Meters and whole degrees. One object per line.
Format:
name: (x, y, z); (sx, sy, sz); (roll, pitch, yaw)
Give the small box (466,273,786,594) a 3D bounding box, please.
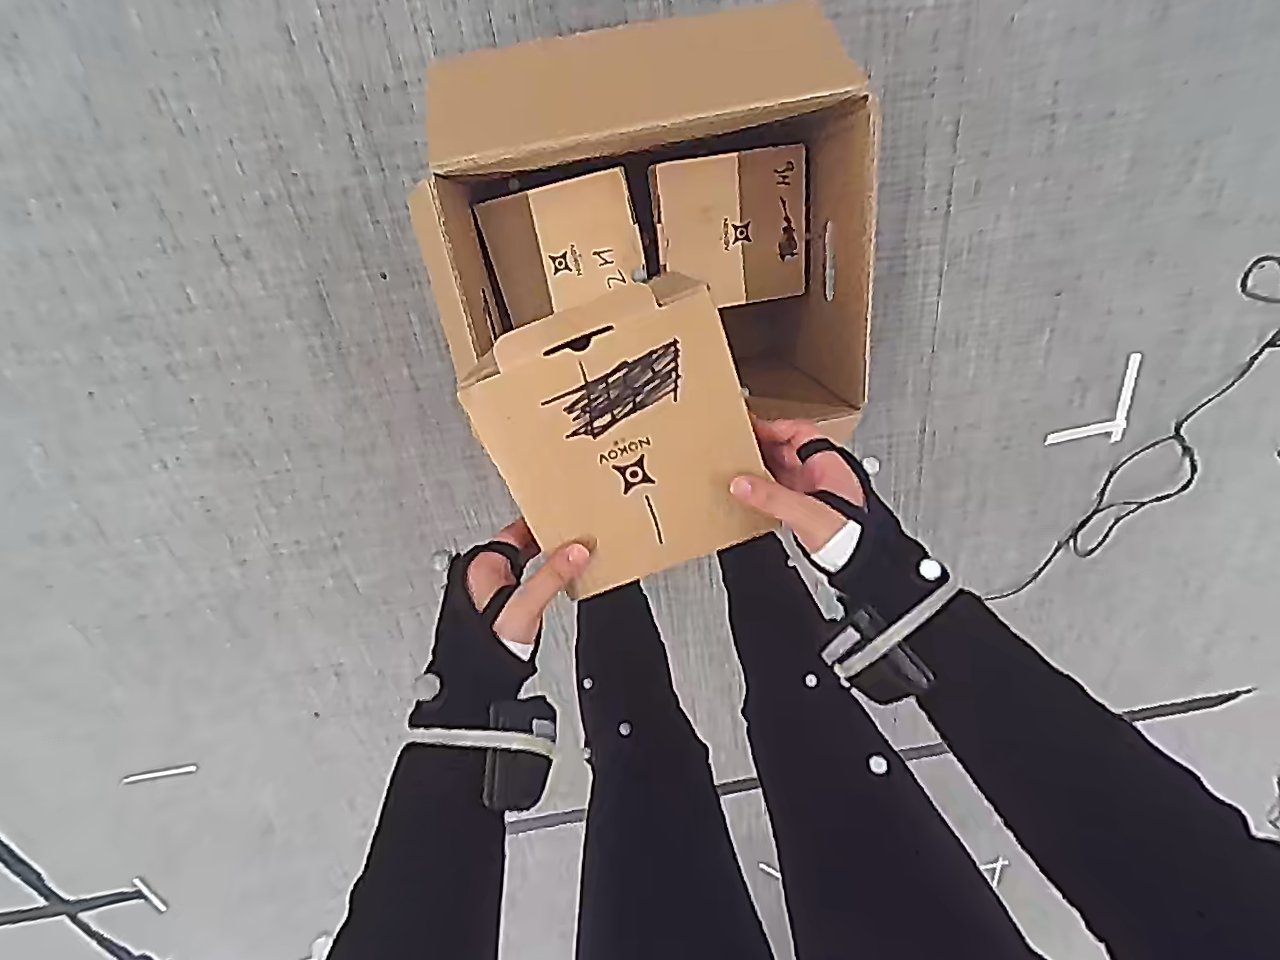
small box: (-0.008, -0.049, 0.423); (0.168, 0.176, 0.179); (-21, 115, 6)
